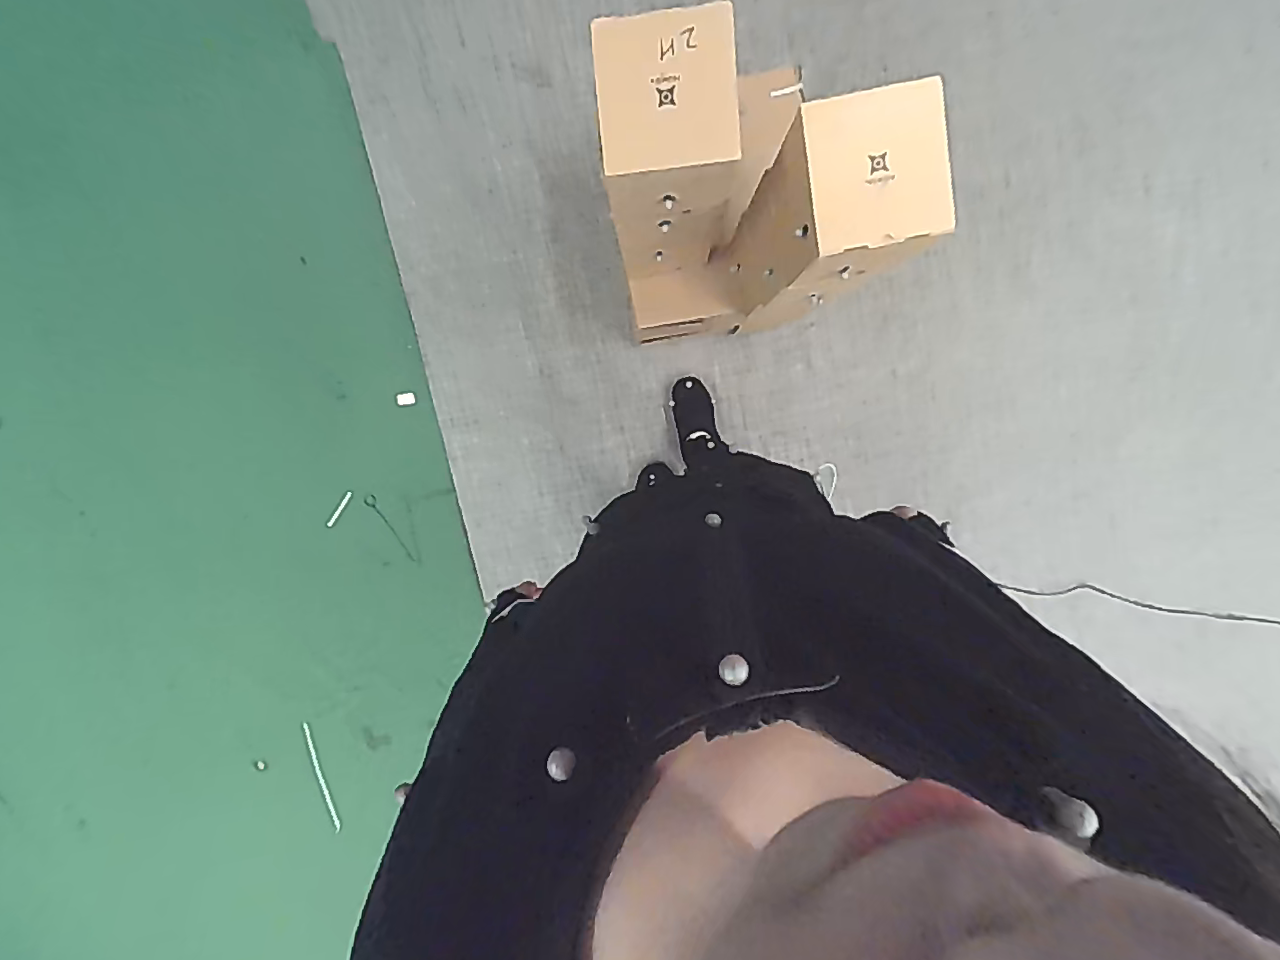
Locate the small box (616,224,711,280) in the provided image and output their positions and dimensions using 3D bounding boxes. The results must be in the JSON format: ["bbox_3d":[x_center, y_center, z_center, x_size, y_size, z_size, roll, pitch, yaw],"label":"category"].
[{"bbox_3d":[0.035,-0.506,1.038,0.168,0.176,0.179,-11,95,4],"label":"small box"}]

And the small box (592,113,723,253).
[{"bbox_3d":[0.037,-0.486,0.872,0.179,0.176,0.168,-11,96,6],"label":"small box"}]

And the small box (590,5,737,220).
[{"bbox_3d":[0.033,-0.461,0.711,0.168,0.176,0.179,-5,96,3],"label":"small box"}]

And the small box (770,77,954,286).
[{"bbox_3d":[0.279,-0.377,0.715,0.168,0.176,0.179,-11,97,3],"label":"small box"}]

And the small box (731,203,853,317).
[{"bbox_3d":[0.283,-0.425,1.039,0.179,0.176,0.168,-12,96,4],"label":"small box"}]
